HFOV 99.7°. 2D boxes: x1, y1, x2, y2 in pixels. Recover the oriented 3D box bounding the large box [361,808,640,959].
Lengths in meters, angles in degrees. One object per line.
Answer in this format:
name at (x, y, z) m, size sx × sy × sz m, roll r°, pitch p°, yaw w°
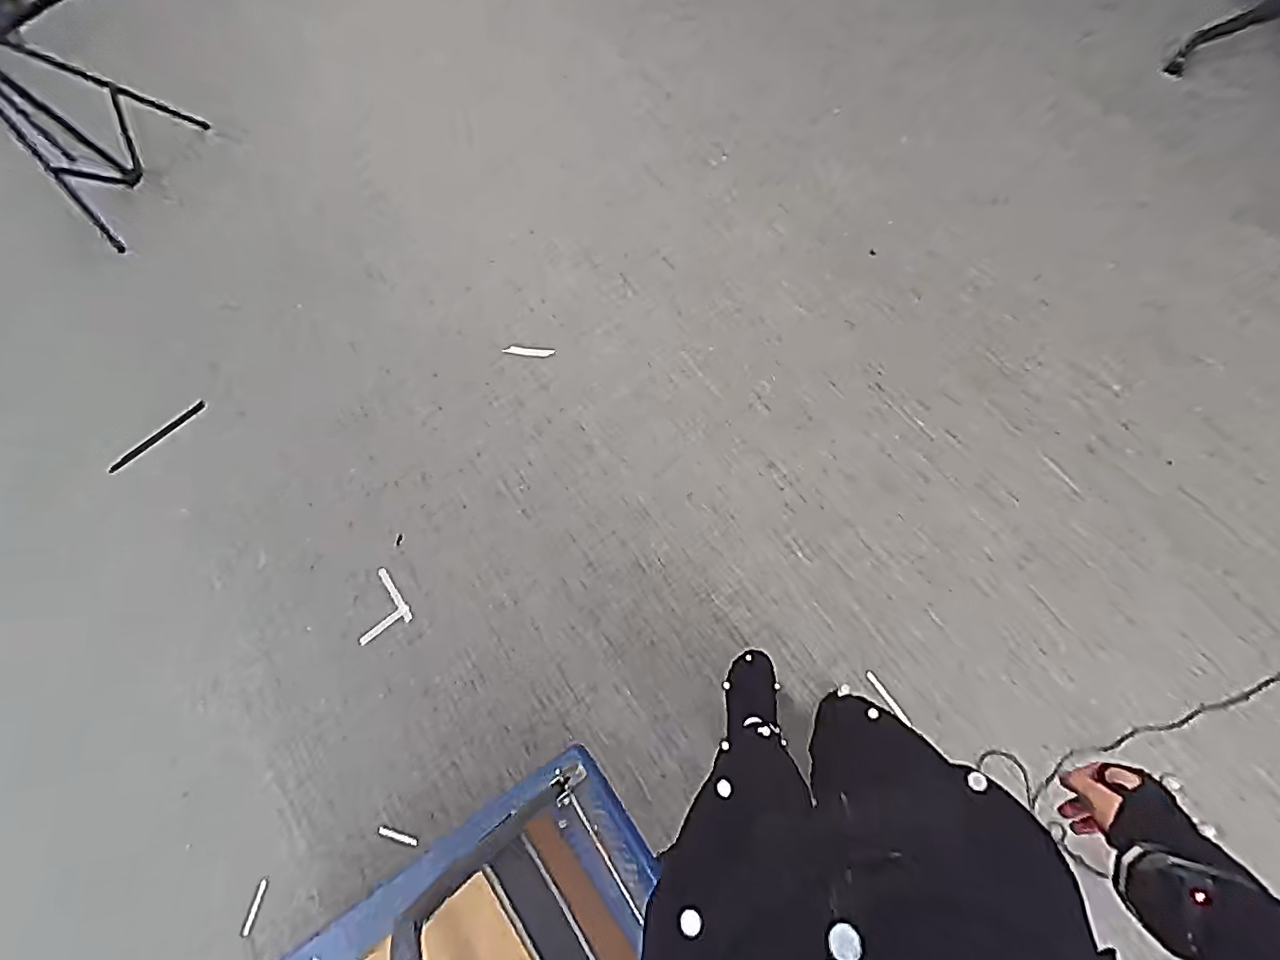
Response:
large box at (-0.219, 0.875, 0.916) m, size 0.320 × 0.320 × 0.408 m, roll -39°, pitch 71°, yaw -4°
